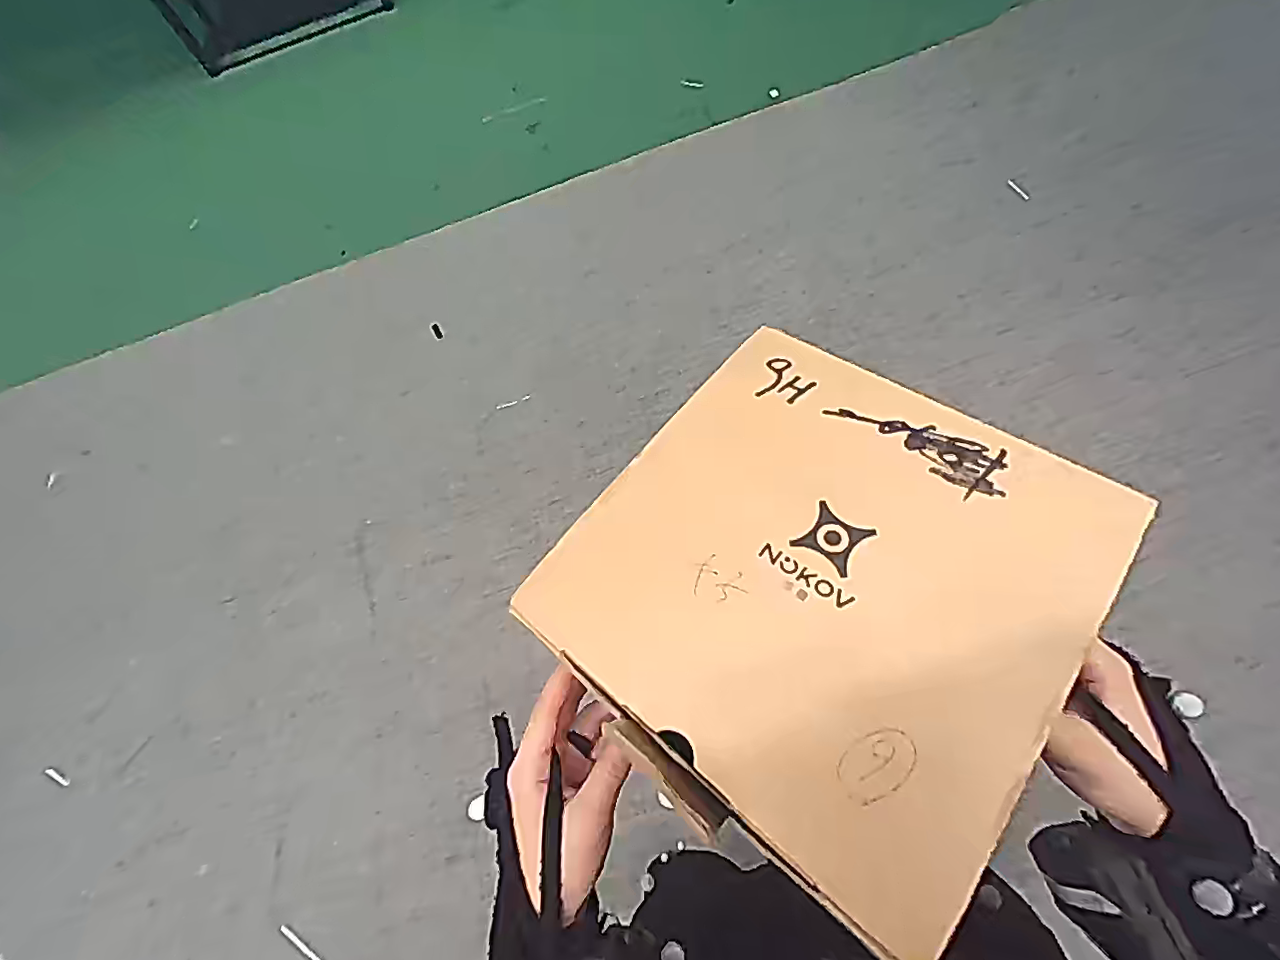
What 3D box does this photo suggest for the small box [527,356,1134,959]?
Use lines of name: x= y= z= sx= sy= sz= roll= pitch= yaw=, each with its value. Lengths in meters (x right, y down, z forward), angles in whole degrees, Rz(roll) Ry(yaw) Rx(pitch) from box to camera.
small box: x=0.080 y=0.079 z=0.276 sx=0.168 sy=0.176 sz=0.179 roll=34 pitch=71 yaw=25
